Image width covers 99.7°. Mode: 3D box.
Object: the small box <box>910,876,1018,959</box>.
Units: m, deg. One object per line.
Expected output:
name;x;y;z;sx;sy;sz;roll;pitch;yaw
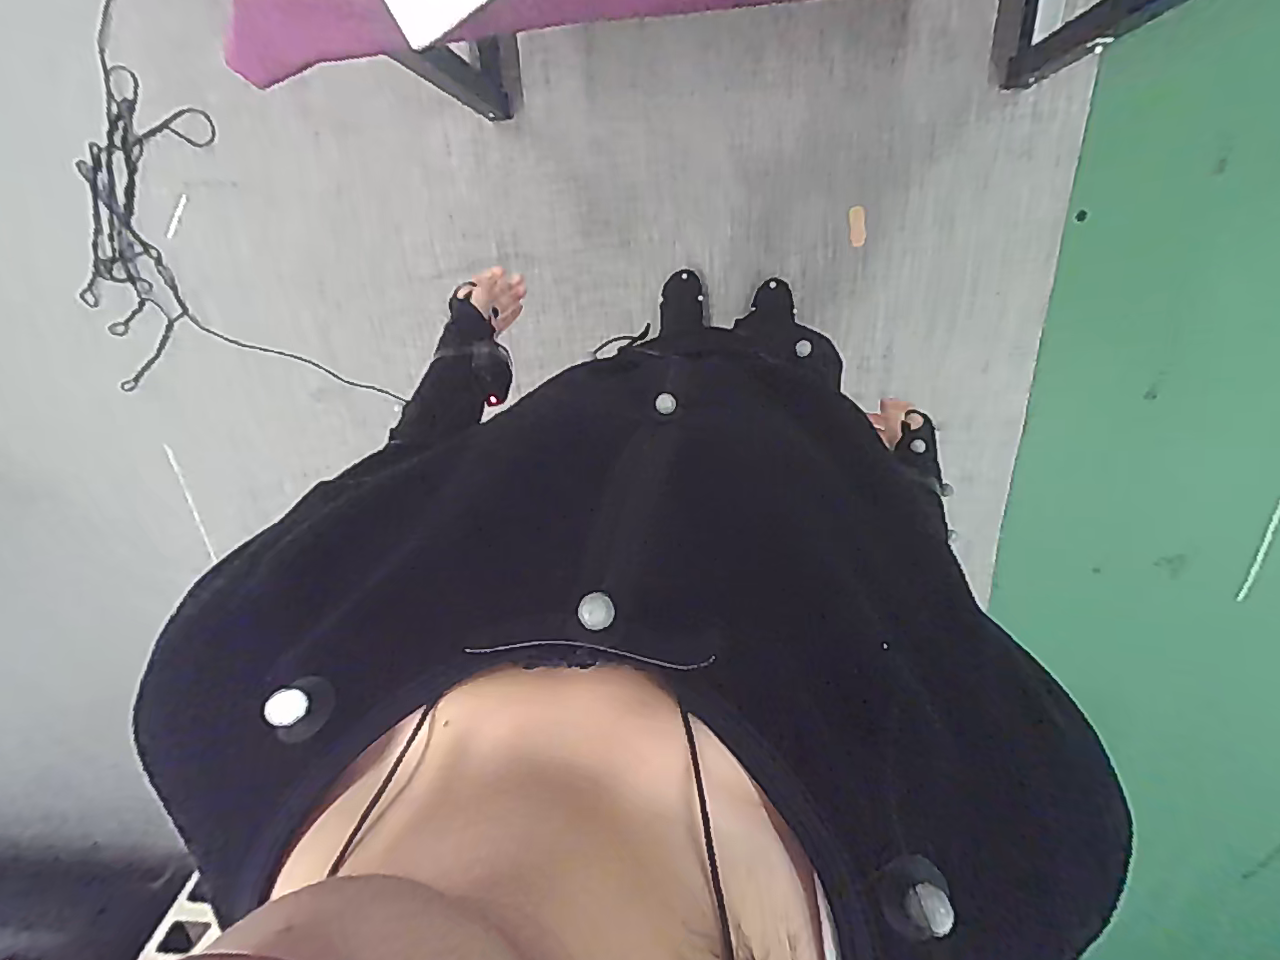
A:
small box;0.784;1.108;1.324;0.179;0.176;0.168;-7;110;10
